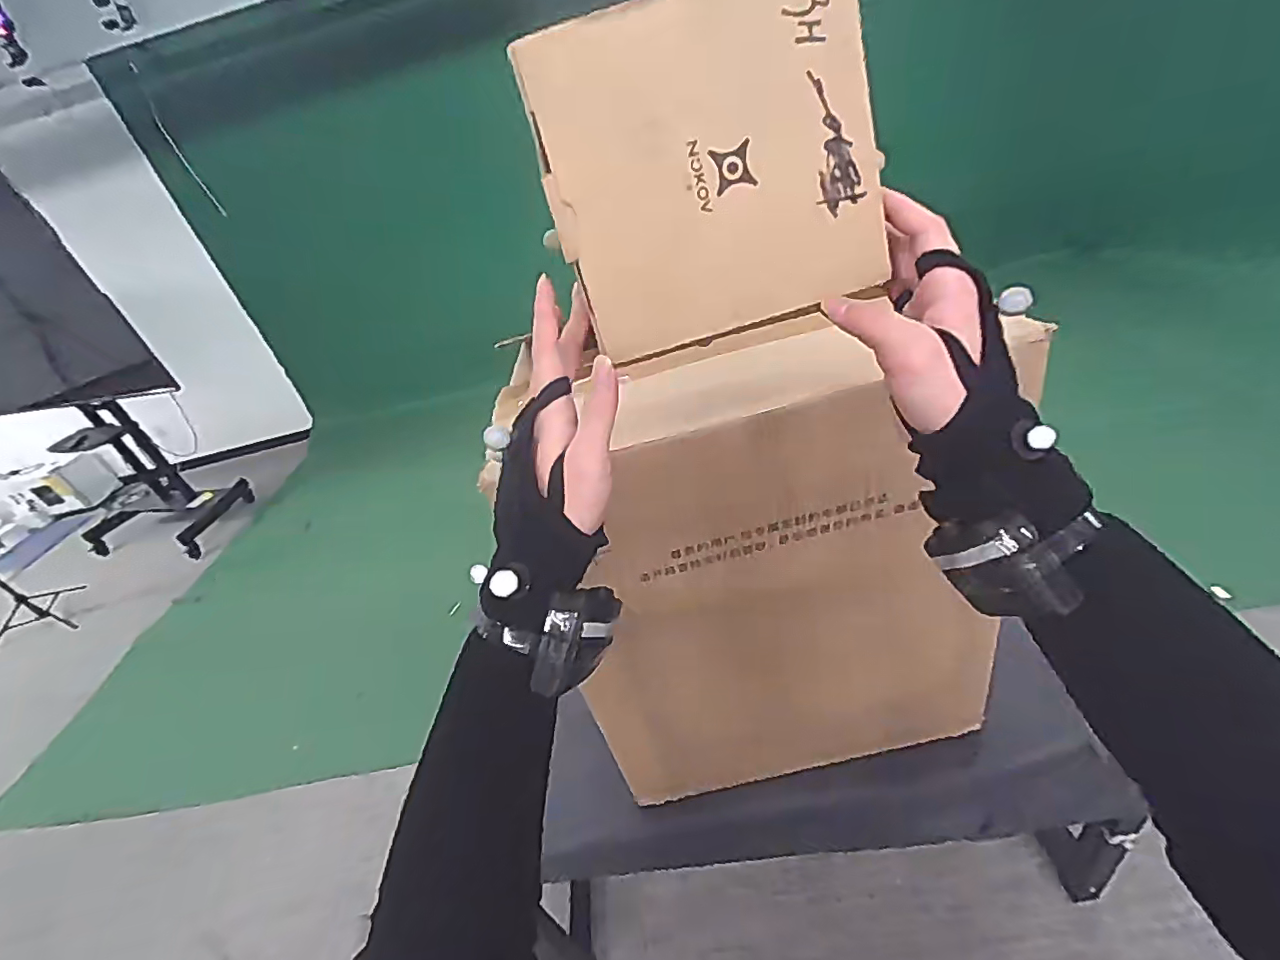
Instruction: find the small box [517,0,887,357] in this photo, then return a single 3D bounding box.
[{"bbox_3d":[0.035,-0.188,0.369,0.179,0.168,0.176,-16,17,0],"label":"small box"}]
